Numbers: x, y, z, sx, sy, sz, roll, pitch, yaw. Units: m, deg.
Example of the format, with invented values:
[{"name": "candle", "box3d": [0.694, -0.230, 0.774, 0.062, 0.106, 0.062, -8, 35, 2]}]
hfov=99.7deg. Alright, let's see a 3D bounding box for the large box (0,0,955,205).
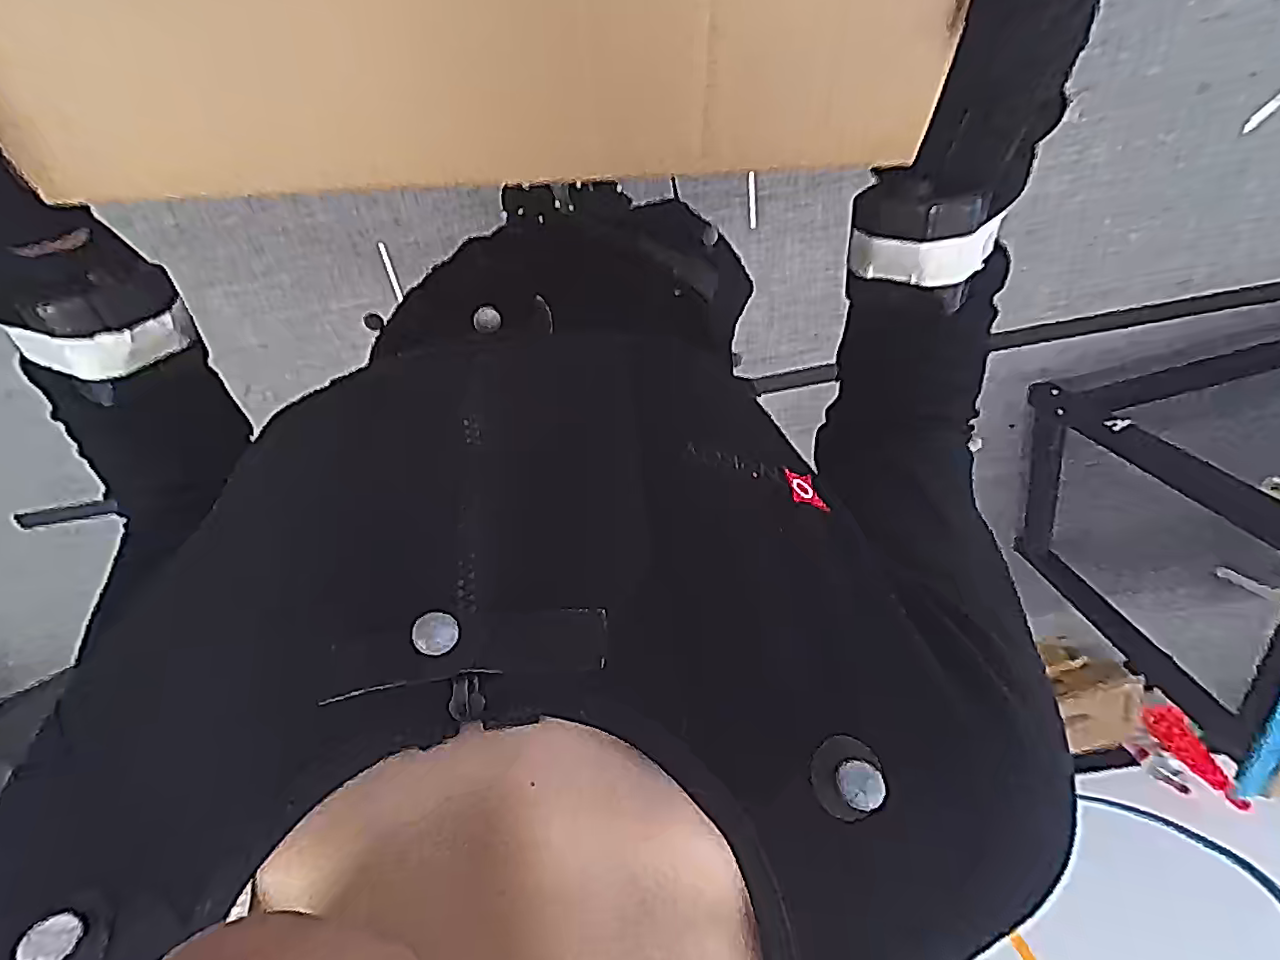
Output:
[{"name": "large box", "box3d": [-0.084, -0.355, 0.229, 0.408, 0.320, 0.320, -3, 143, -1]}]
